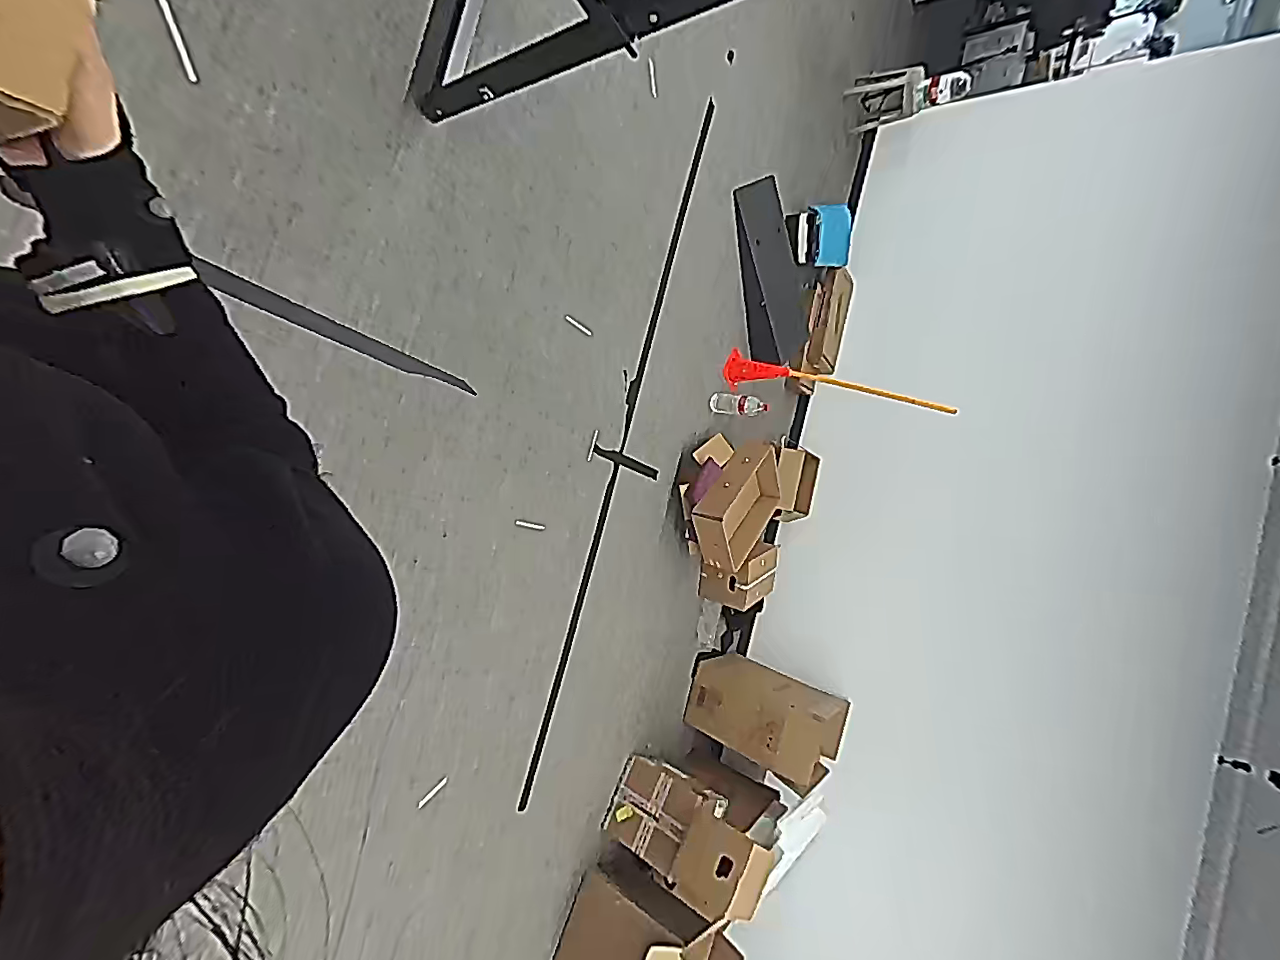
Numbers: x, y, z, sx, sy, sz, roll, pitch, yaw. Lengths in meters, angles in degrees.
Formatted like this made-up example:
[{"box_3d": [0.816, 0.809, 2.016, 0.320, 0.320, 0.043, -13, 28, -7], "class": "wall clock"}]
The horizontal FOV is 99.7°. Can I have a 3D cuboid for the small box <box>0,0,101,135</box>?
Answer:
[{"box_3d": [-0.327, -0.260, 0.201, 0.168, 0.176, 0.179, 9, 97, -59], "class": "small box"}]
